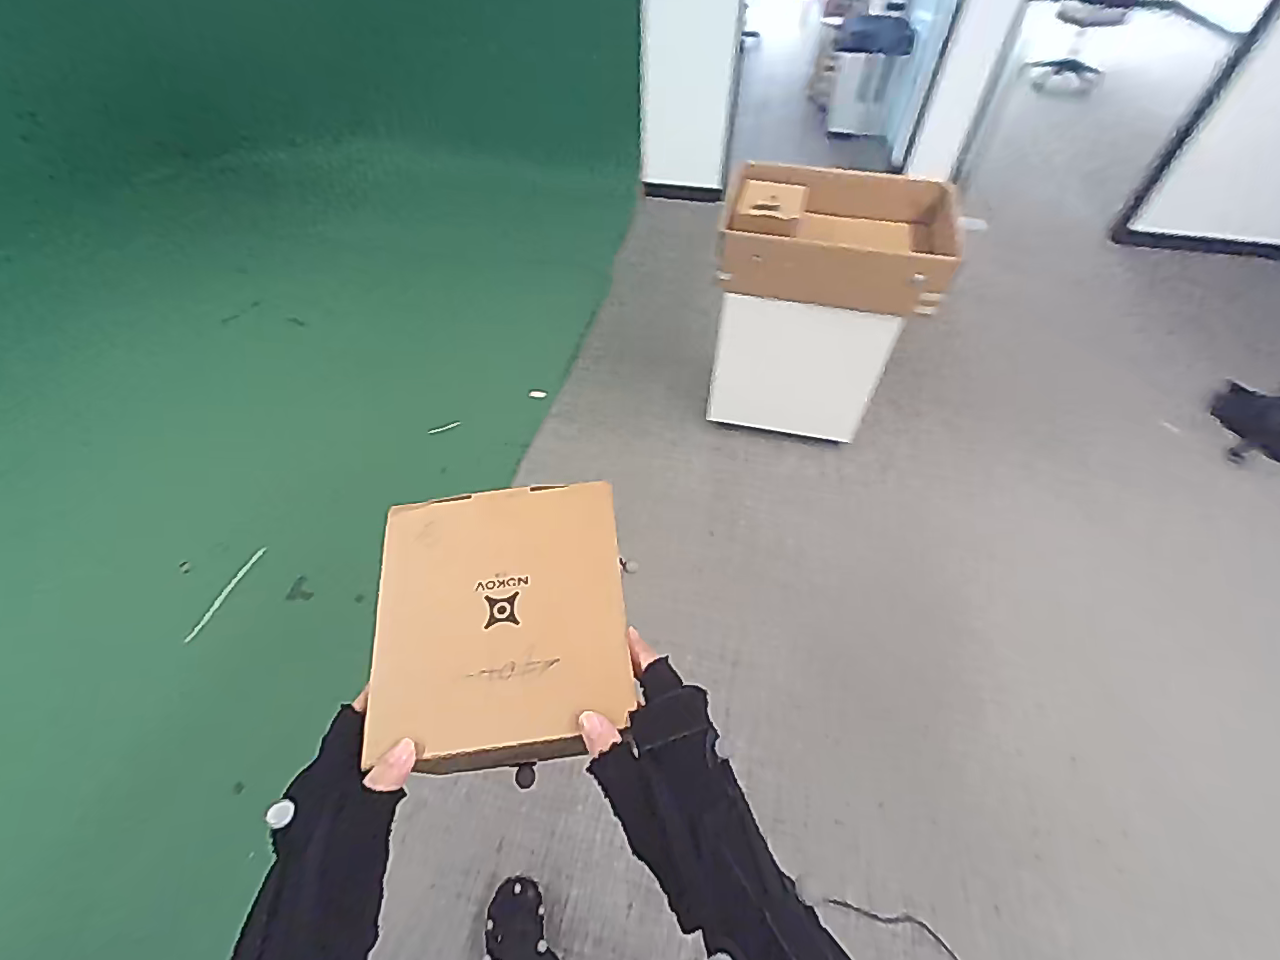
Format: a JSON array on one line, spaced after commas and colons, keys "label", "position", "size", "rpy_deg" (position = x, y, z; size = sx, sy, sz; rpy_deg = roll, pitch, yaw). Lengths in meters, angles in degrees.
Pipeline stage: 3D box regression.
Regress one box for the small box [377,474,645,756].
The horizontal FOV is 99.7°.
[{"label": "small box", "position": [-0.086, 0.116, 0.440], "size": [0.168, 0.176, 0.179], "rpy_deg": [-6, 61, -2]}]
